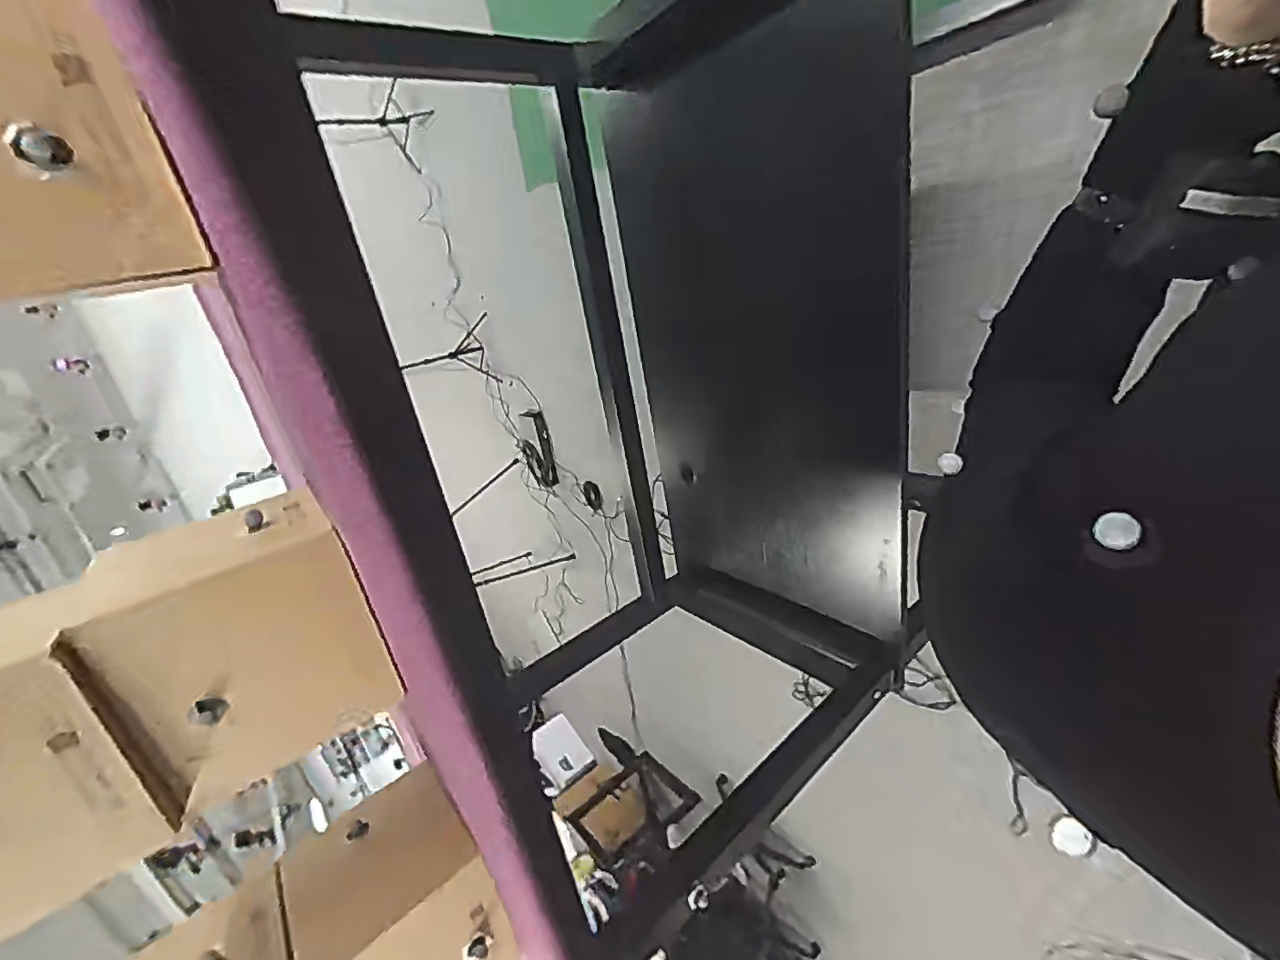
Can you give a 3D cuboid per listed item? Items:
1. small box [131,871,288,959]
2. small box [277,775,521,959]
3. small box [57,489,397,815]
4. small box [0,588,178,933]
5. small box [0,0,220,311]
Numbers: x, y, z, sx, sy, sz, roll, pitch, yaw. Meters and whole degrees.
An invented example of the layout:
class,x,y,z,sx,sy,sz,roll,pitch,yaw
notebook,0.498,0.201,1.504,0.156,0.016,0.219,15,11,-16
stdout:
class,x,y,z,sx,sy,sz,roll,pitch,yaw
small box,-0.377,0.520,0.487,0.168,0.176,0.179,10,119,51
small box,-0.251,0.456,0.573,0.179,0.176,0.168,10,120,51
small box,-0.336,0.130,0.475,0.168,0.176,0.179,18,124,50
small box,-0.455,0.195,0.382,0.179,0.176,0.168,11,119,53
small box,-0.396,-0.199,0.339,0.179,0.176,0.168,21,129,50
